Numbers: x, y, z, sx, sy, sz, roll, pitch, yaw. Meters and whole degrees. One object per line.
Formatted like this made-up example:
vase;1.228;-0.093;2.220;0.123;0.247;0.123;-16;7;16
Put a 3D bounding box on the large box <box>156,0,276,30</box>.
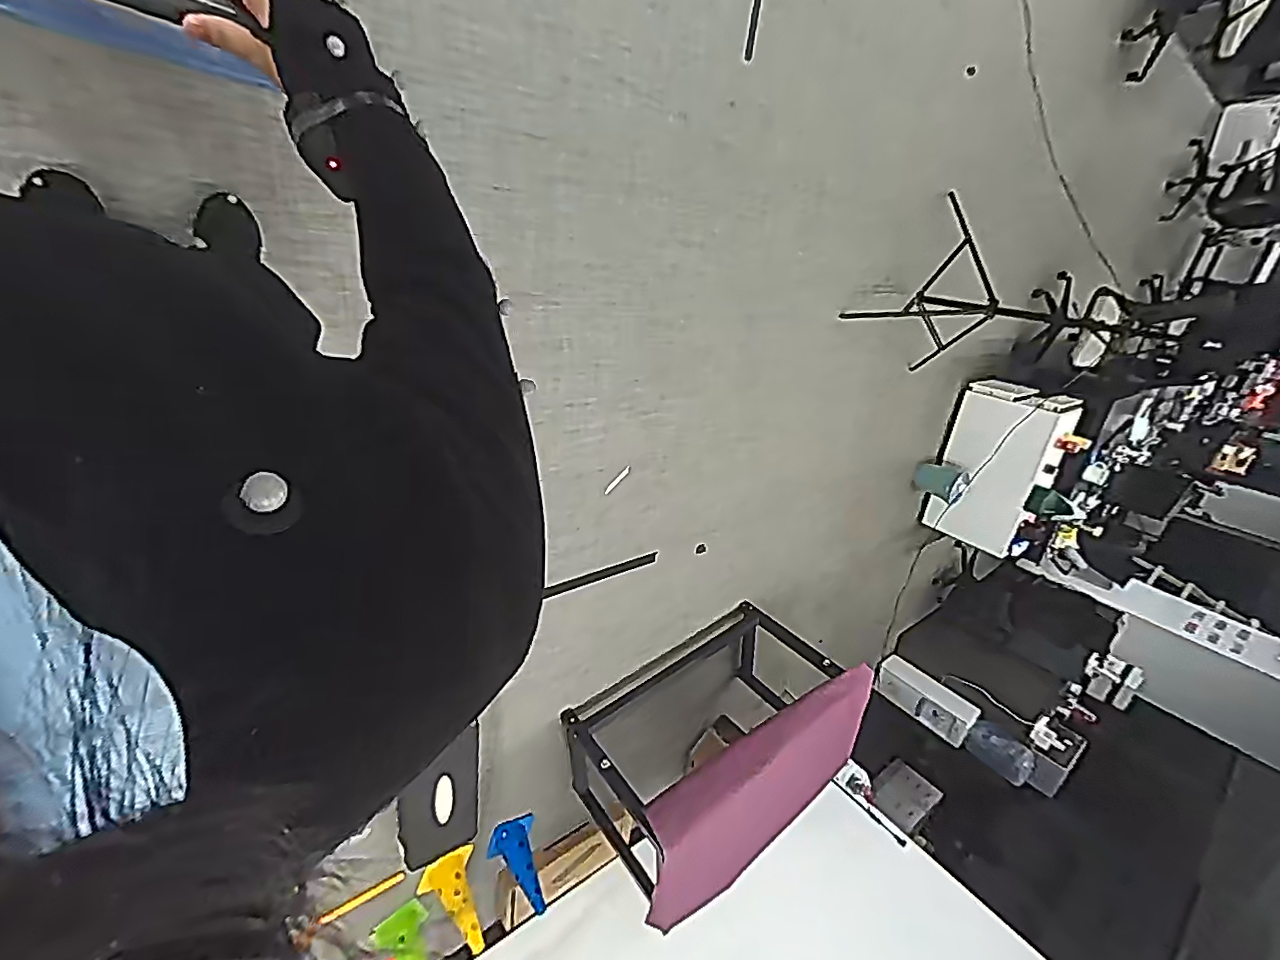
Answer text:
large box;-0.701;-0.820;0.646;0.408;0.320;0.320;-8;121;-39
